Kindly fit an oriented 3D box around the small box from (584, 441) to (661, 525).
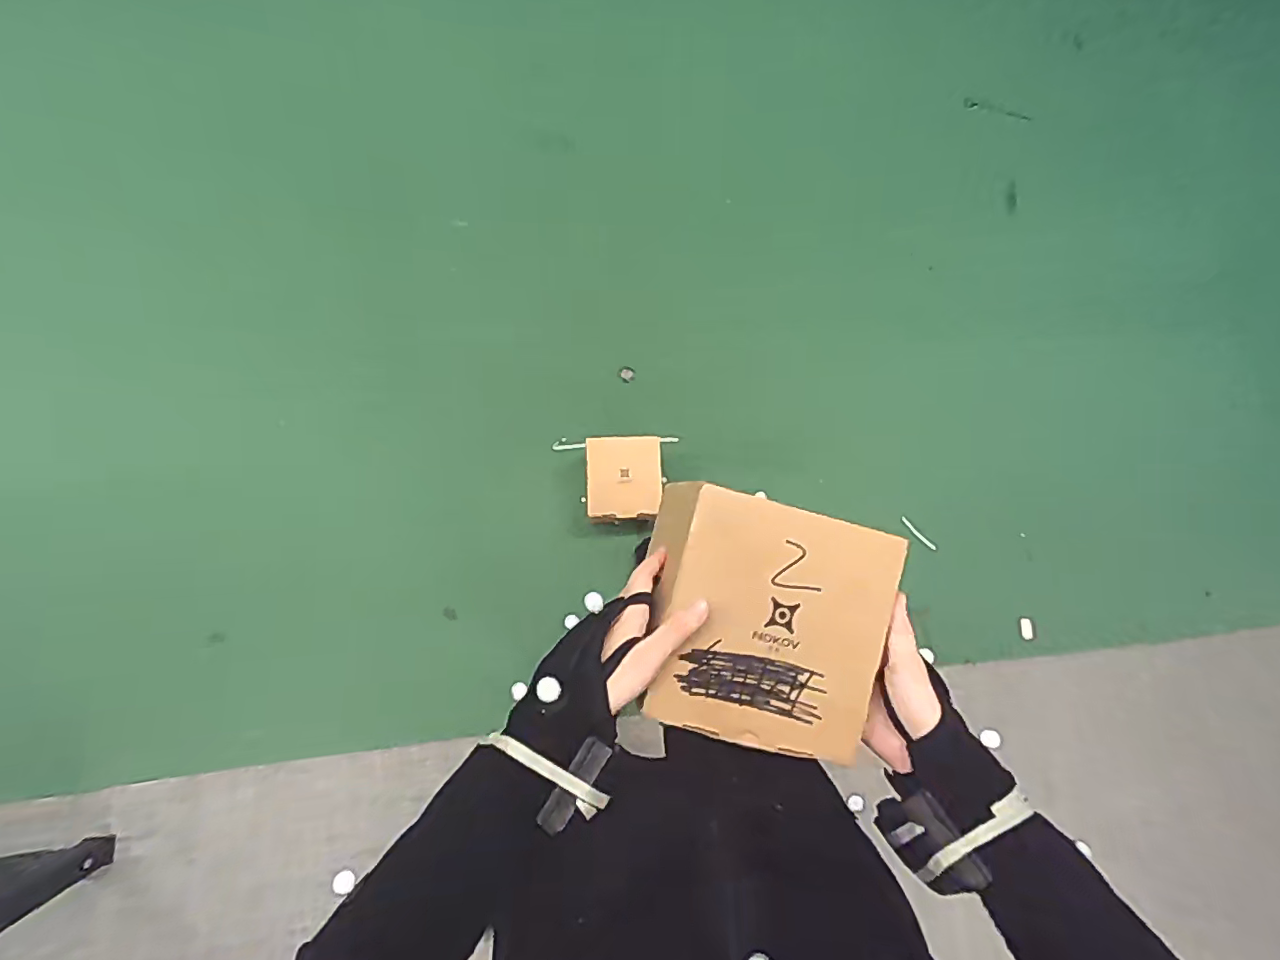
[{"bbox_3d":[-0.046,0.012,1.267,0.168,0.176,0.179,-2,83,-7],"label":"small box"}]
